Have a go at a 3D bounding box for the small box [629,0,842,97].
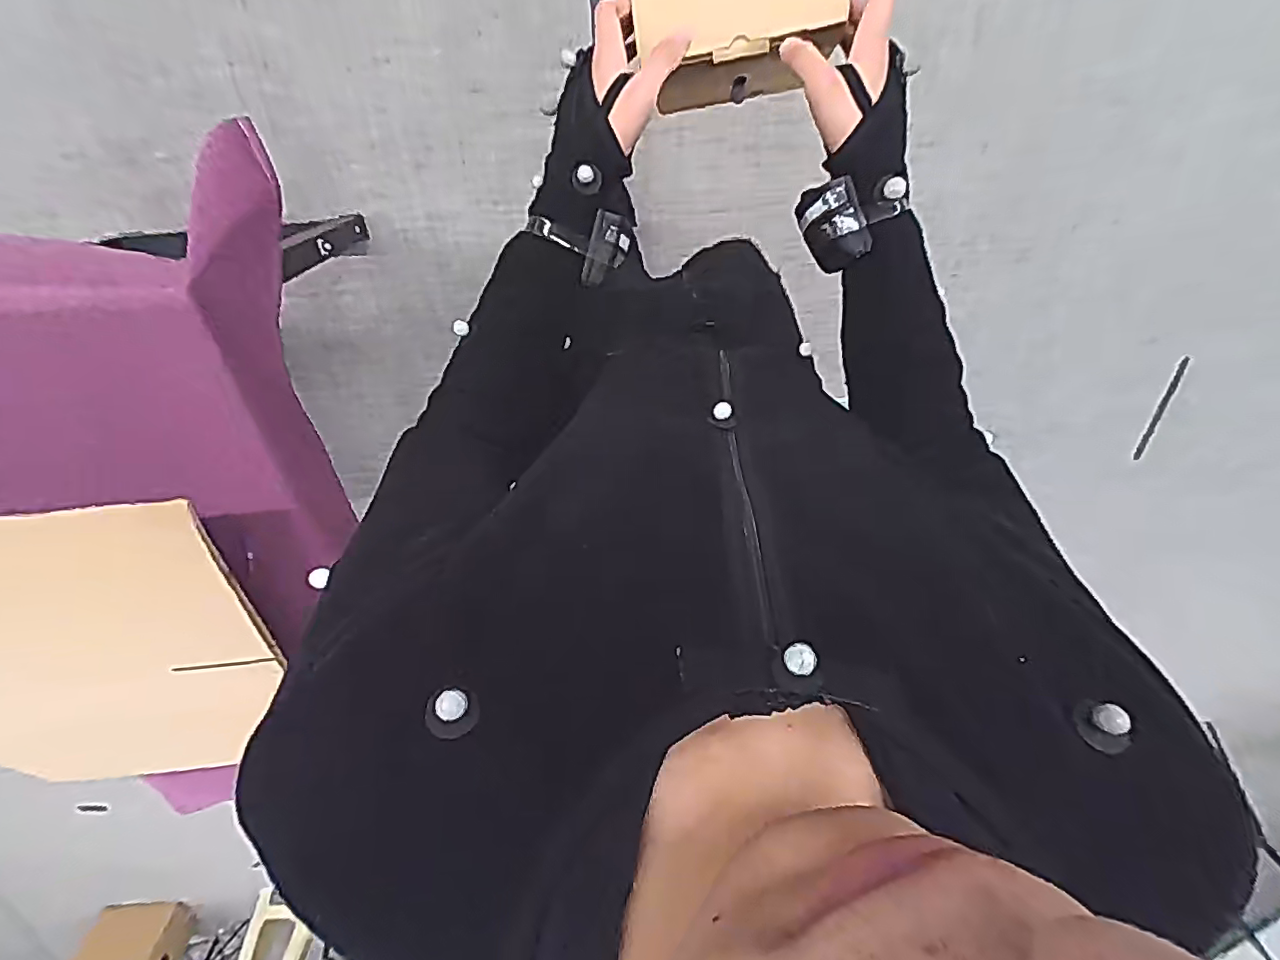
[{"bbox_3d":[0.078,-0.458,0.469,0.168,0.176,0.179,-4,113,11],"label":"small box"}]
